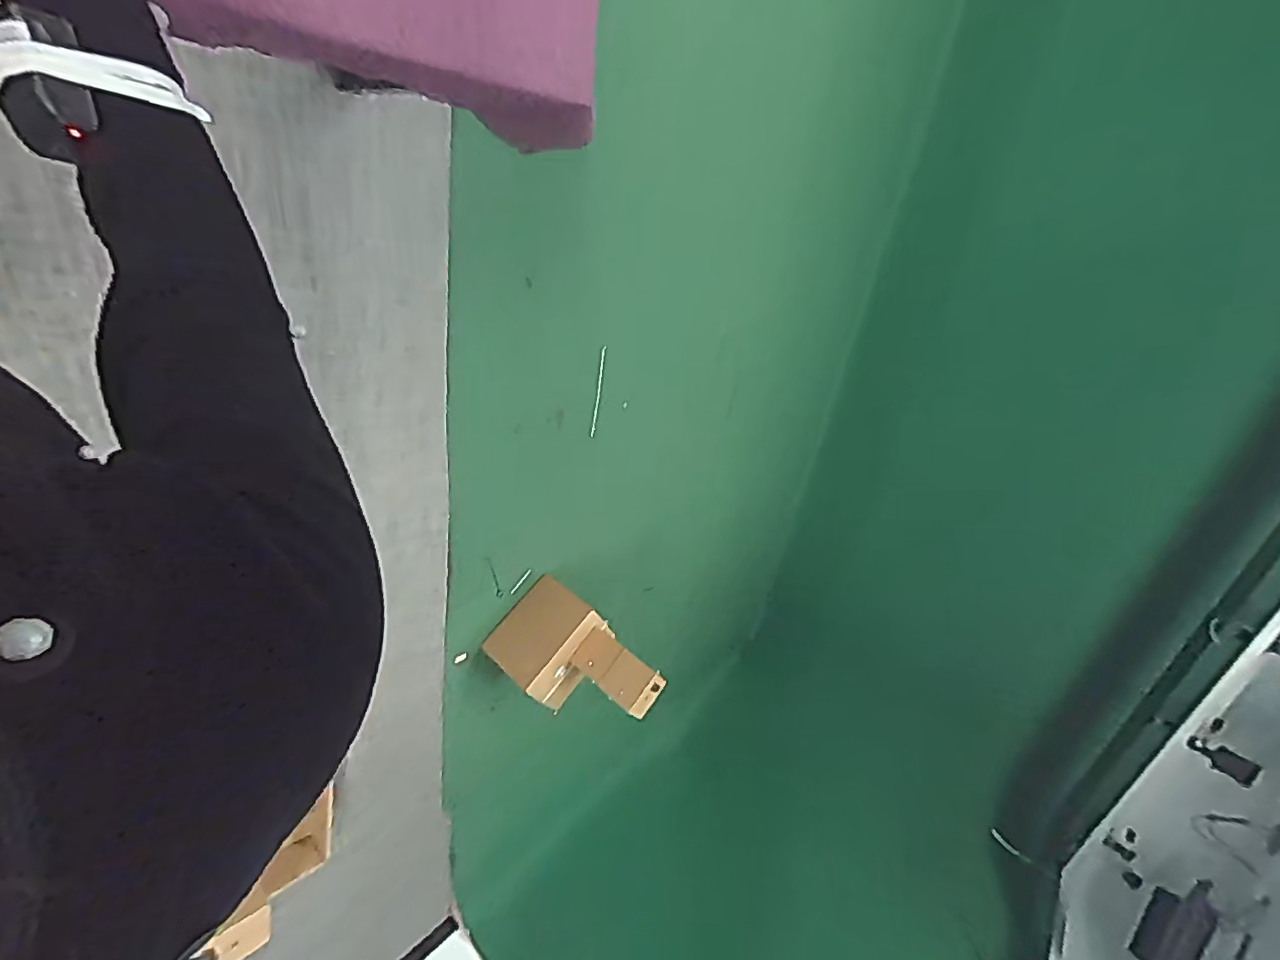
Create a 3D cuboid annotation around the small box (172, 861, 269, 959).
[{"bbox_3d":[-1.115,1.178,1.435,0.179,0.176,0.168,-11,121,-51],"label":"small box"}]
